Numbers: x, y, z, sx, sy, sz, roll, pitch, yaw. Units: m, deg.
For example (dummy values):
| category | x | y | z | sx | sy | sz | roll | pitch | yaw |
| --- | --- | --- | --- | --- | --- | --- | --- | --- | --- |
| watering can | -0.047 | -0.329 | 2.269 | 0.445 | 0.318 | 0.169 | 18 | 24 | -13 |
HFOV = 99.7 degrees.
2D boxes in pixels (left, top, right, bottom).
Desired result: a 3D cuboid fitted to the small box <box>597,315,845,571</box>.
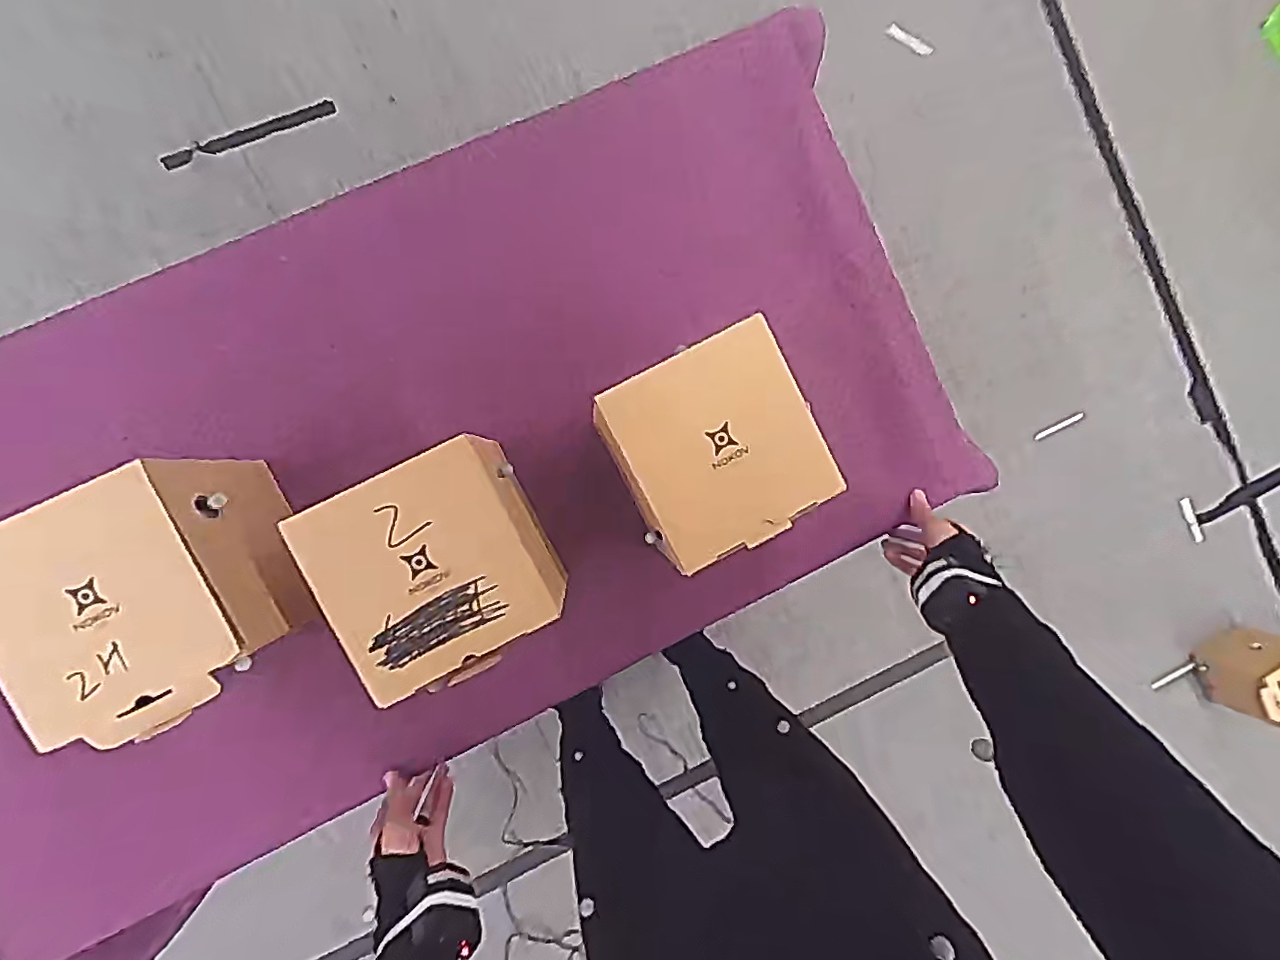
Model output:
| category | x | y | z | sx | sy | sz | roll | pitch | yaw |
| --- | --- | --- | --- | --- | --- | --- | --- | --- | --- |
| small box | 0.064 | -0.033 | 0.546 | 0.168 | 0.176 | 0.179 | -28 | 94 | -5 |

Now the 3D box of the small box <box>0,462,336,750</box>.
| category | x | y | z | sx | sy | sz | roll | pitch | yaw |
| --- | --- | --- | --- | --- | --- | --- | --- | --- | --- |
| small box | -0.425 | 0.096 | 0.497 | 0.168 | 0.176 | 0.179 | -27 | 94 | -4 |

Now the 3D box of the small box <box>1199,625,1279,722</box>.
| category | x | y | z | sx | sy | sz | roll | pitch | yaw |
| --- | --- | --- | --- | --- | --- | --- | --- | --- | --- |
| small box | 1.687 | 0.521 | 1.468 | 0.179 | 0.176 | 0.168 | -28 | 95 | -5 |
